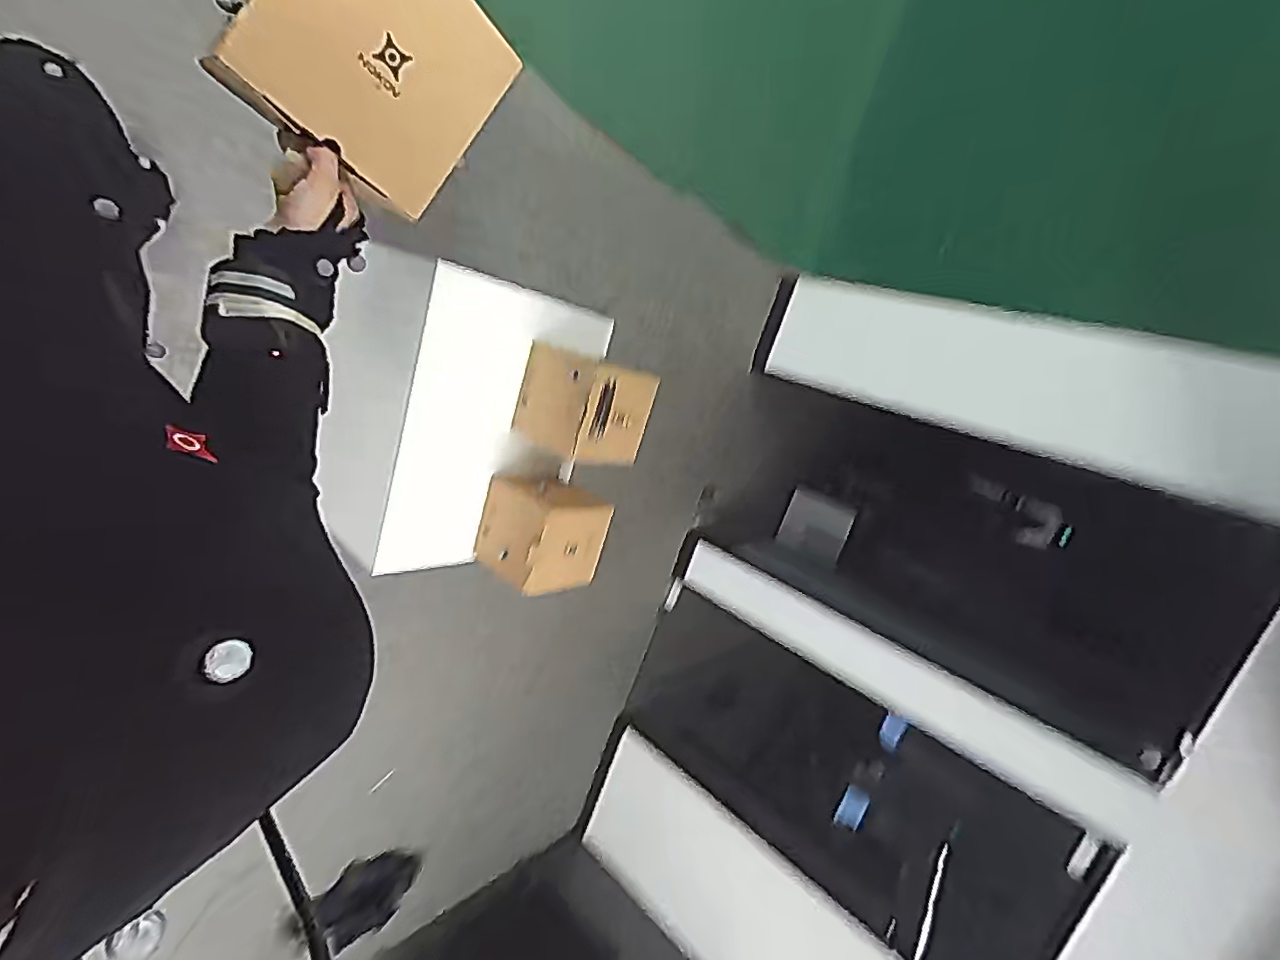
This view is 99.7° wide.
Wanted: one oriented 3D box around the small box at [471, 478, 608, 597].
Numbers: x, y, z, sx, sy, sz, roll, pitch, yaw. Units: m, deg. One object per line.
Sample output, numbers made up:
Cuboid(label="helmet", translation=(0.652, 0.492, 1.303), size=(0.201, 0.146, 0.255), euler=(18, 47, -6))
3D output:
Cuboid(label="small box", translation=(-0.196, 0.102, 1.039), size=(0.179, 0.176, 0.168), euler=(1, 112, -54))

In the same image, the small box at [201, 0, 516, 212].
Cuboid(label="small box", translation=(-0.251, -0.380, 0.477), size=(0.179, 0.176, 0.168), euler=(-54, 141, 4))
